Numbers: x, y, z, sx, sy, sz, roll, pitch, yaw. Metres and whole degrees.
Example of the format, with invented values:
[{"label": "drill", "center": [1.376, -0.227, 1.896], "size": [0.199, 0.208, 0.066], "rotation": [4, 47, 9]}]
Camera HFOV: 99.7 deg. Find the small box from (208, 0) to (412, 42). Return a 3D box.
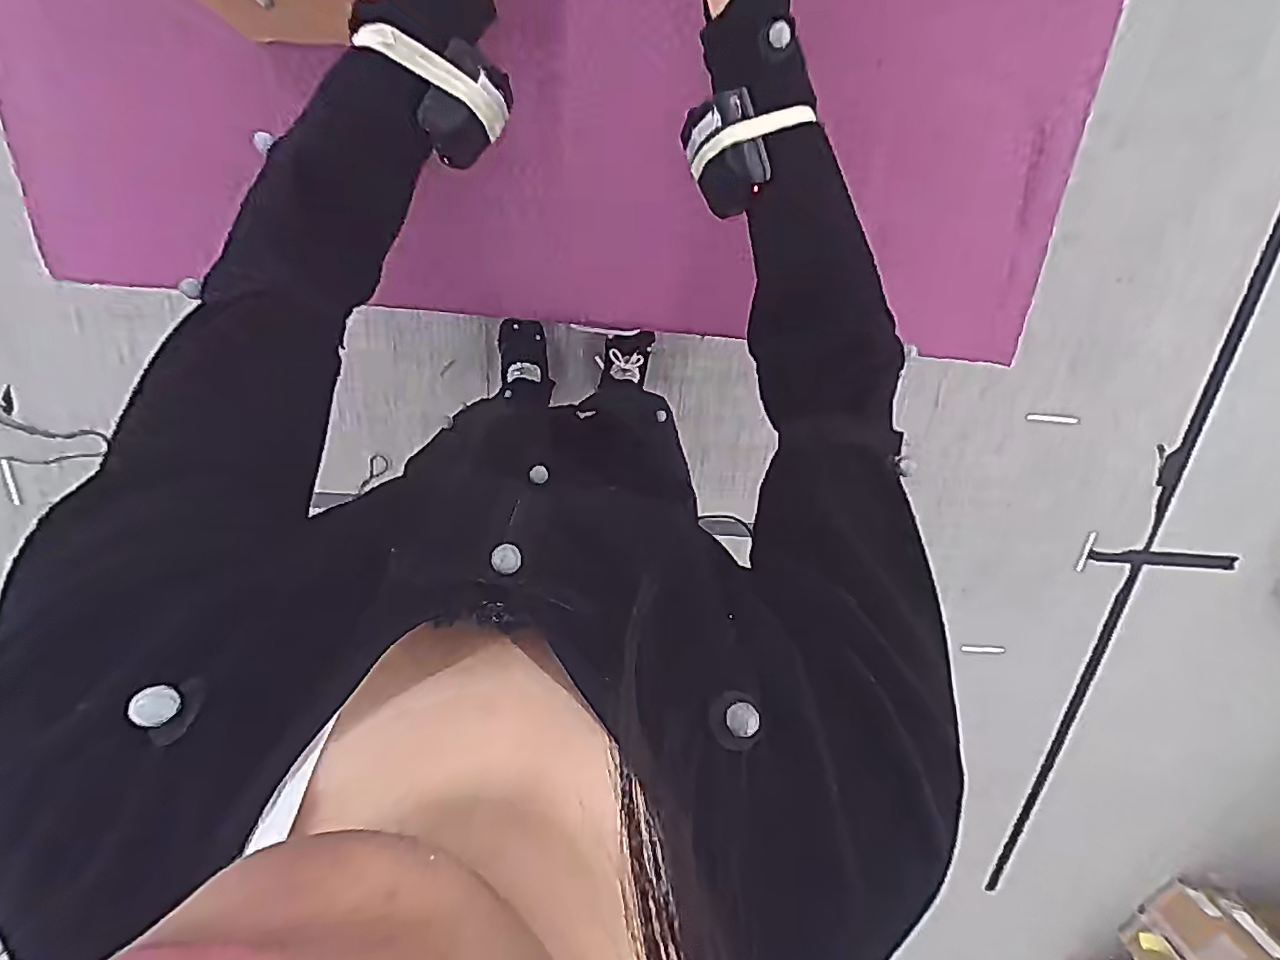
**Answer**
[{"label": "small box", "center": [-0.314, -0.517, 0.473], "size": [0.179, 0.176, 0.168], "rotation": [0, 111, -3]}]
